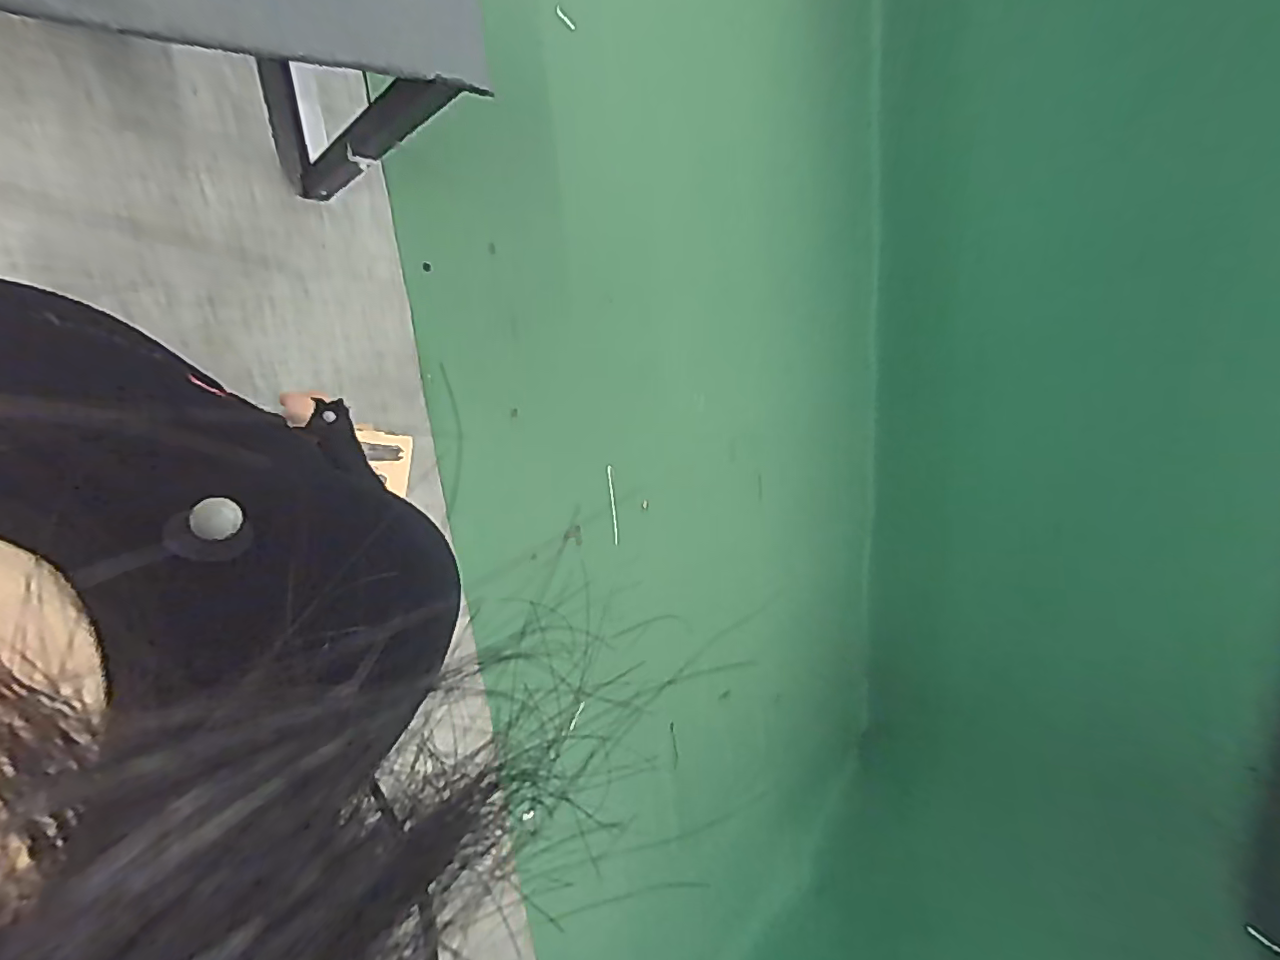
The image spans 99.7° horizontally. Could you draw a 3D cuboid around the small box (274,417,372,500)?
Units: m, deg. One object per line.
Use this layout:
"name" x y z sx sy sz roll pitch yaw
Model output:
"small box" -0.755 -0.058 1.289 0.168 0.176 0.179 -7 102 -45
